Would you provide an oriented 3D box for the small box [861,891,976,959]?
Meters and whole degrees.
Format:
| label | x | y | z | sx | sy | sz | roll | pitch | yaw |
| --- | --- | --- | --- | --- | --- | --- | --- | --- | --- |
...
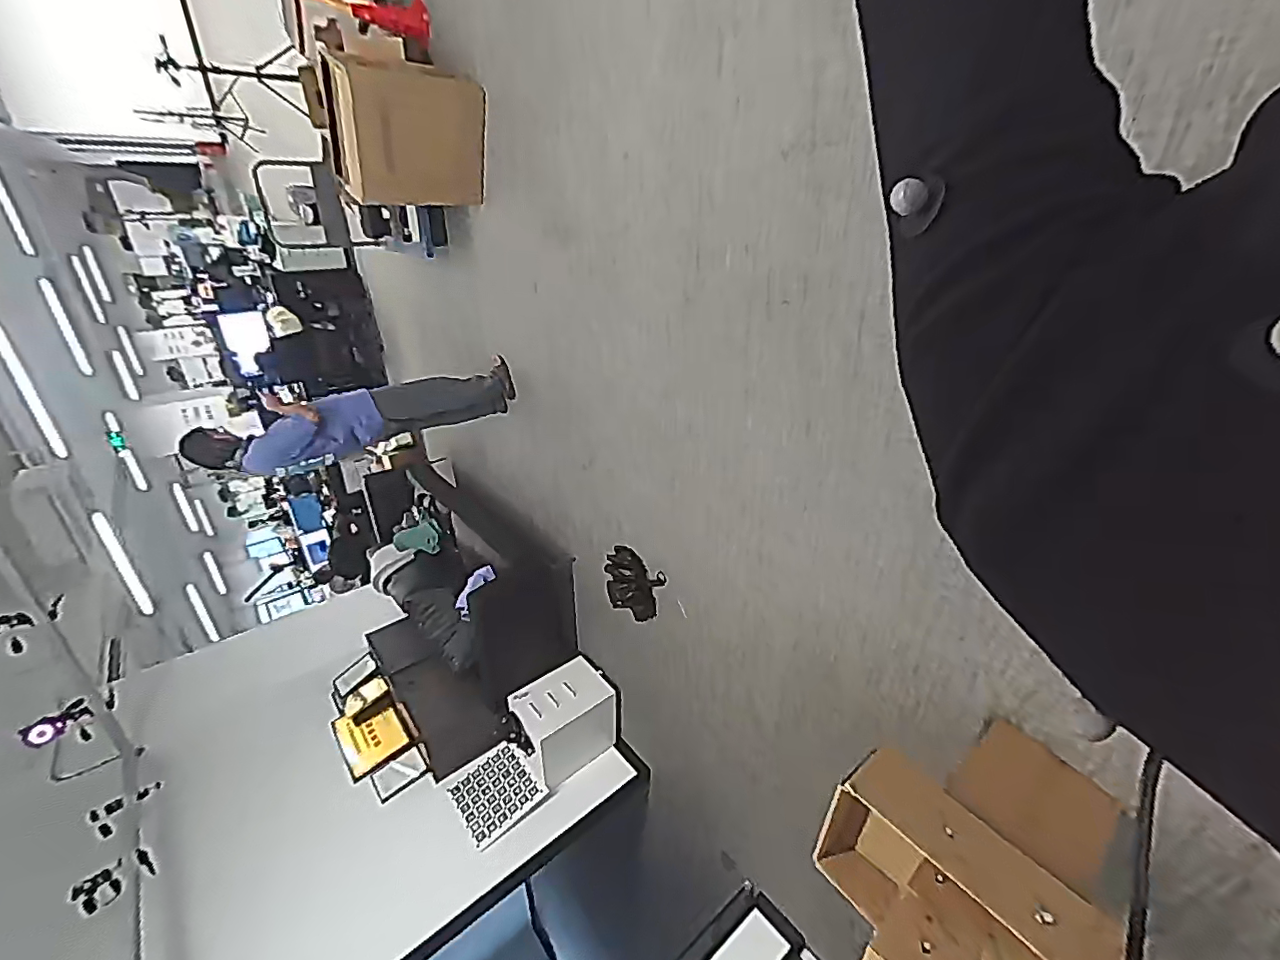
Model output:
| label | x | y | z | sx | sy | sz | roll | pitch | yaw |
| --- | --- | --- | --- | --- | --- | --- | --- | --- | --- |
| small box | 0.608 | 1.070 | 1.195 | 0.168 | 0.176 | 0.179 | 30 | 130 | 44 |

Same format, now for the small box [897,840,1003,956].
| label | x | y | z | sx | sy | sz | roll | pitch | yaw |
| --- | --- | --- | --- | --- | --- | --- | --- | --- | --- |
| small box | 0.730 | 1.016 | 1.289 | 0.168 | 0.176 | 0.179 | 30 | 132 | 44 |
